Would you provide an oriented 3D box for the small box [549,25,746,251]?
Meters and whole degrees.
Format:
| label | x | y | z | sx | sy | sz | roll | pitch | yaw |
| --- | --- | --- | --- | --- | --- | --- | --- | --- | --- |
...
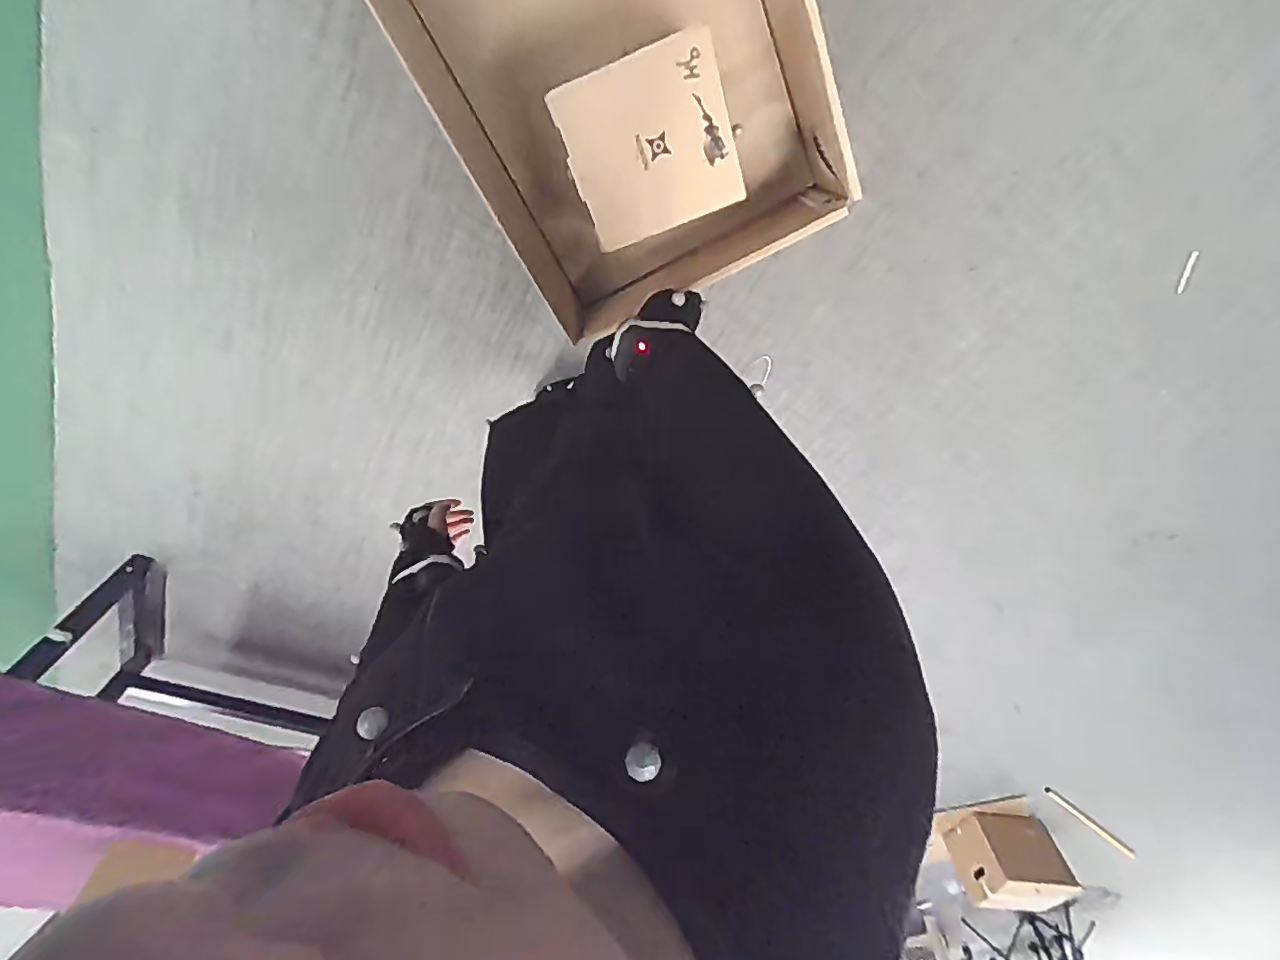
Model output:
| label | x | y | z | sx | sy | sz | roll | pitch | yaw |
| --- | --- | --- | --- | --- | --- | --- | --- | --- | --- |
| small box | 0.013 | -0.399 | 0.645 | 0.179 | 0.176 | 0.168 | -17 | 124 | 11 |

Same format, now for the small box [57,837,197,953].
| label | x | y | z | sx | sy | sz | roll | pitch | yaw |
| --- | --- | --- | --- | --- | --- | --- | --- | --- | --- |
| small box | -1.174 | 0.956 | 1.249 | 0.179 | 0.176 | 0.168 | 24 | 120 | -18 |
